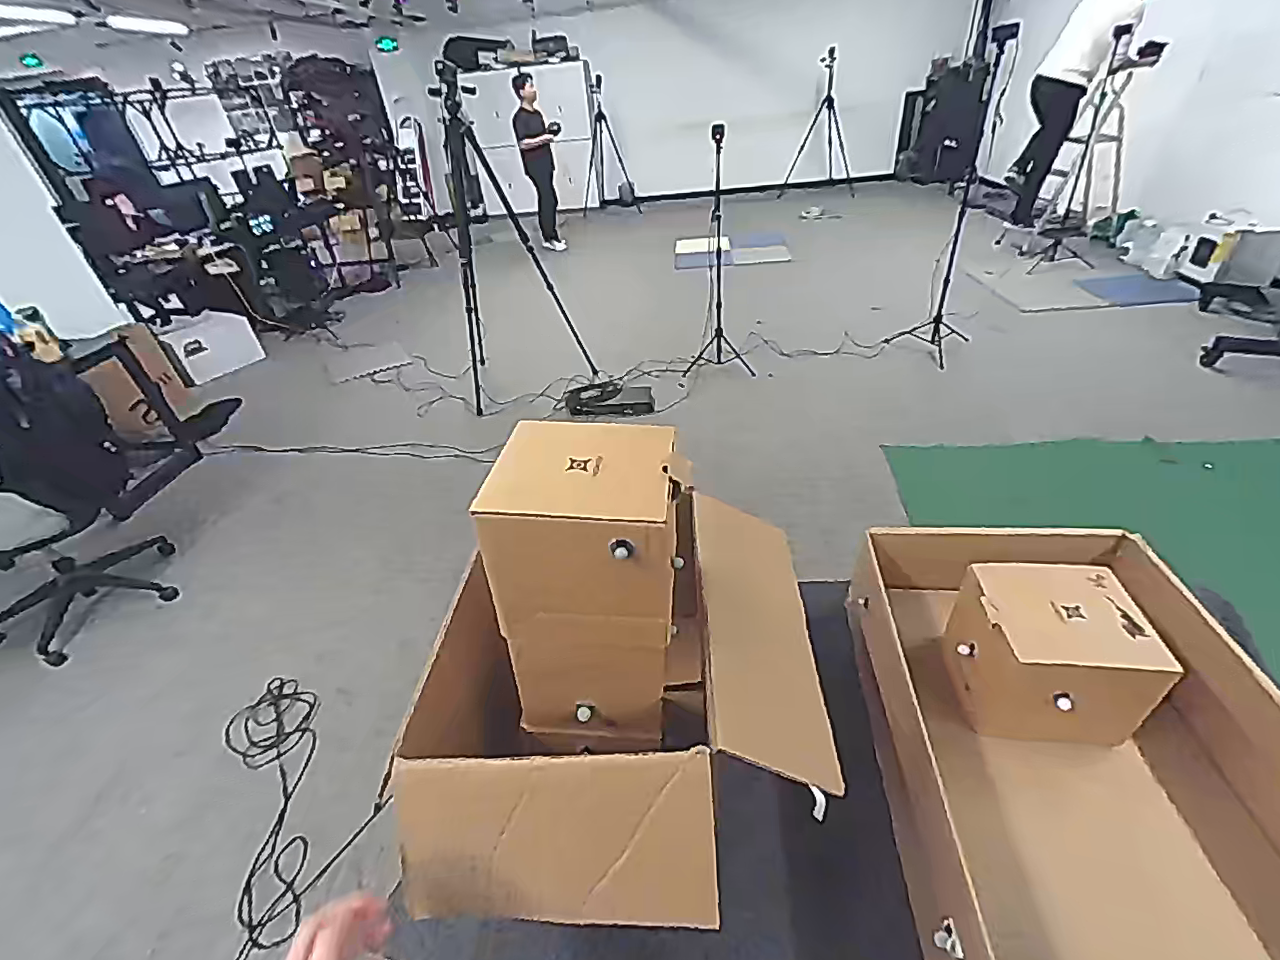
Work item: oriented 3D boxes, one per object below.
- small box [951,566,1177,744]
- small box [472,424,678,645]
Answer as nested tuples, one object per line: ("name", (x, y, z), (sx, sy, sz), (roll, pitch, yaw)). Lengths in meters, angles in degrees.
("small box", (0.545, 0.235, 0.733), (0.179, 0.176, 0.168), (-1, 38, 11))
("small box", (-0.052, 0.055, 0.571), (0.179, 0.176, 0.168), (3, 35, 5))
